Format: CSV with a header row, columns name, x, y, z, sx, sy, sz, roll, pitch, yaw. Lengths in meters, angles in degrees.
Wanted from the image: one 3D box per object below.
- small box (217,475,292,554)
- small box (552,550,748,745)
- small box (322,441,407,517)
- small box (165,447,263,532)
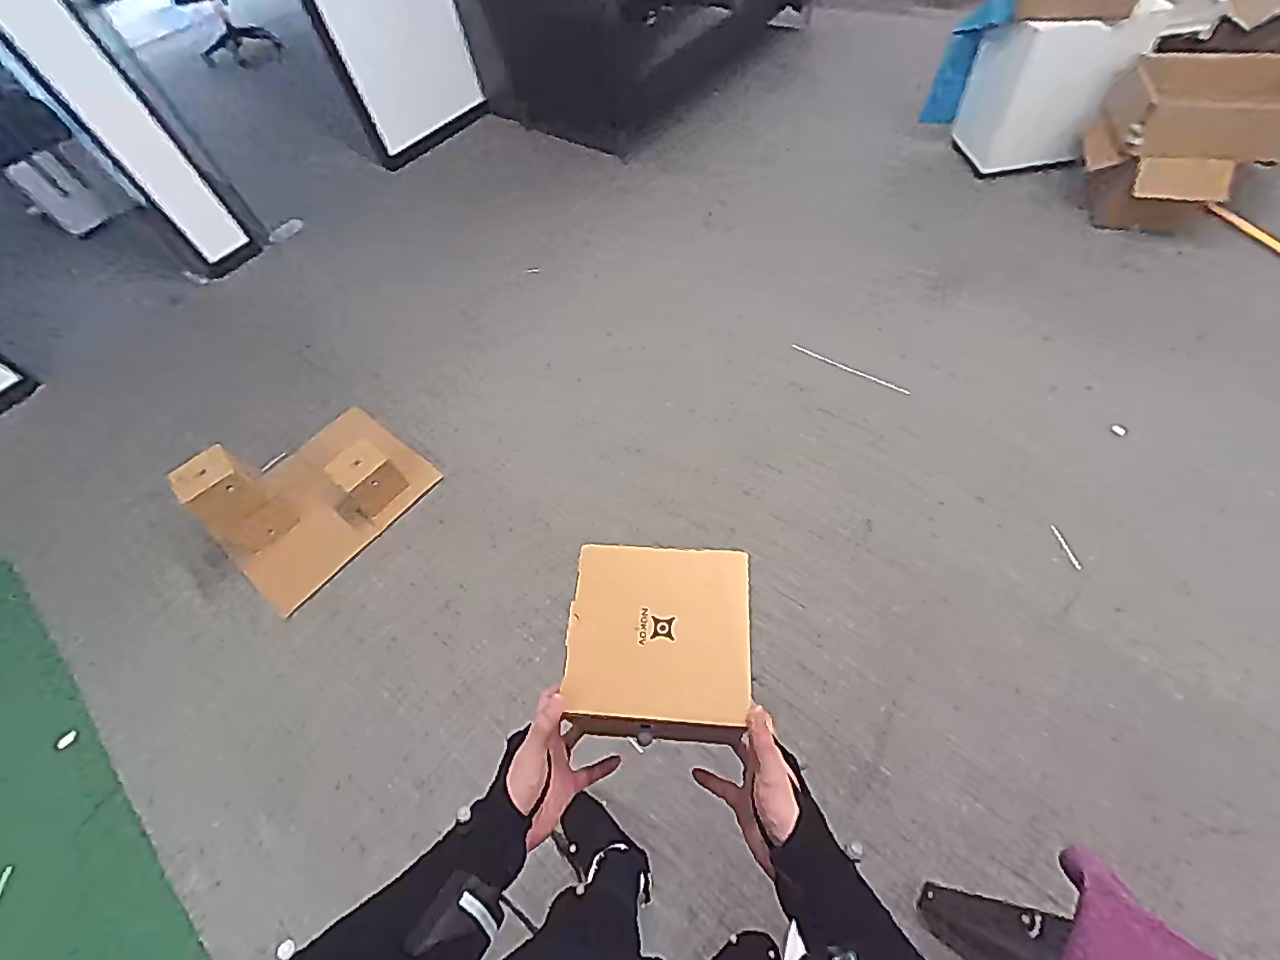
name,x,y,z,sx,sy,sz,roll,pitch,yaw
small box,-1.359,0.123,1.893,0.179,0.176,0.168,-39,60,-18
small box,0.018,0.186,0.585,0.179,0.176,0.168,1,59,6
small box,-0.975,0.001,1.926,0.168,0.176,0.179,34,67,25
small box,-1.370,0.033,1.753,0.179,0.176,0.168,-40,60,-18
